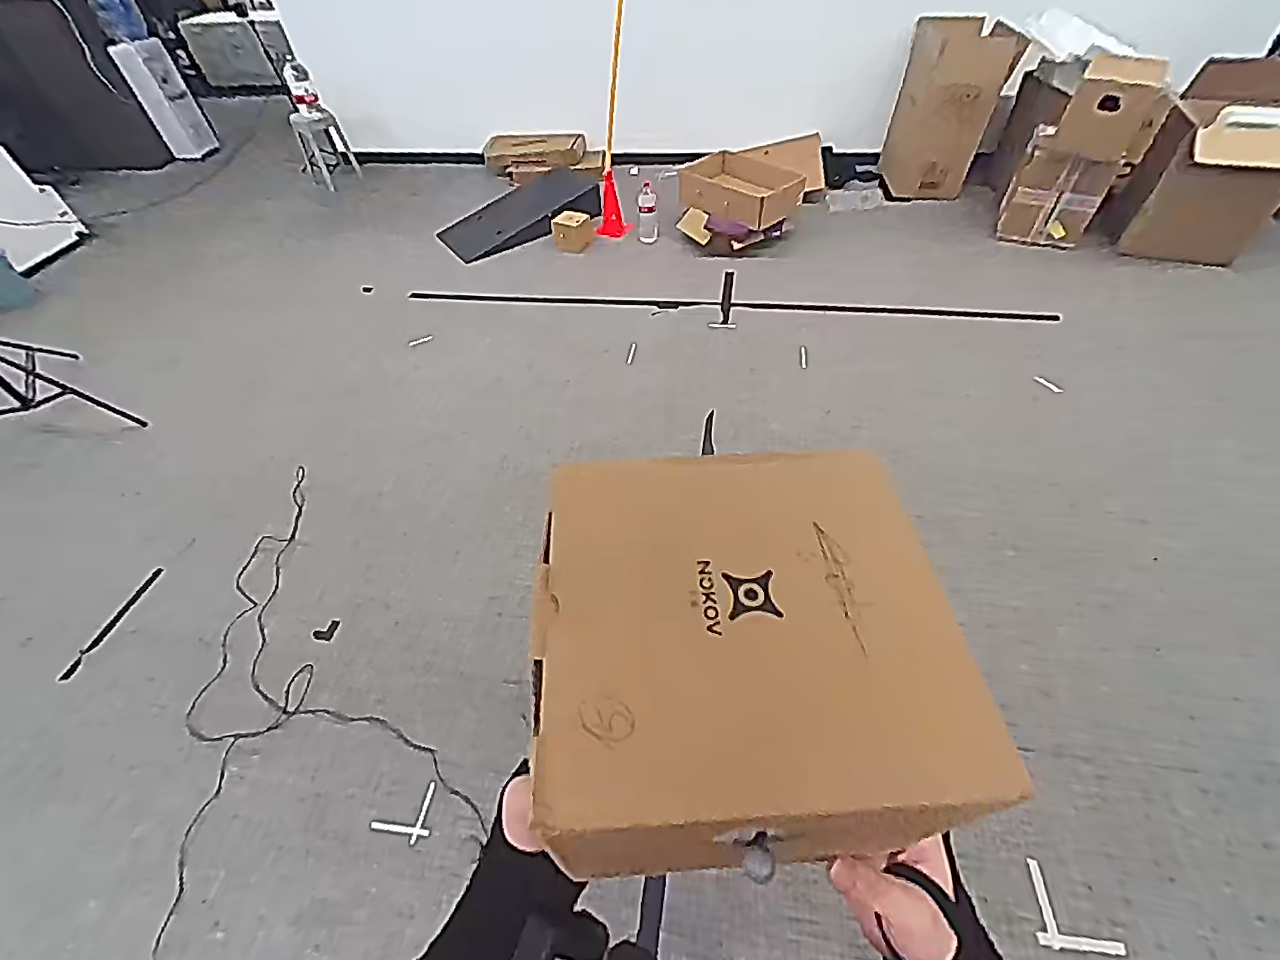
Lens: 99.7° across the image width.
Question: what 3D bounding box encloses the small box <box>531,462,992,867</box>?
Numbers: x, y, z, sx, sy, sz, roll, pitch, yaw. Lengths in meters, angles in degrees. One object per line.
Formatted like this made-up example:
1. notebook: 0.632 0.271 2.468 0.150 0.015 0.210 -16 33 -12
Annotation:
1. small box: 0.042 0.108 0.309 0.179 0.176 0.168 -3 50 -3
